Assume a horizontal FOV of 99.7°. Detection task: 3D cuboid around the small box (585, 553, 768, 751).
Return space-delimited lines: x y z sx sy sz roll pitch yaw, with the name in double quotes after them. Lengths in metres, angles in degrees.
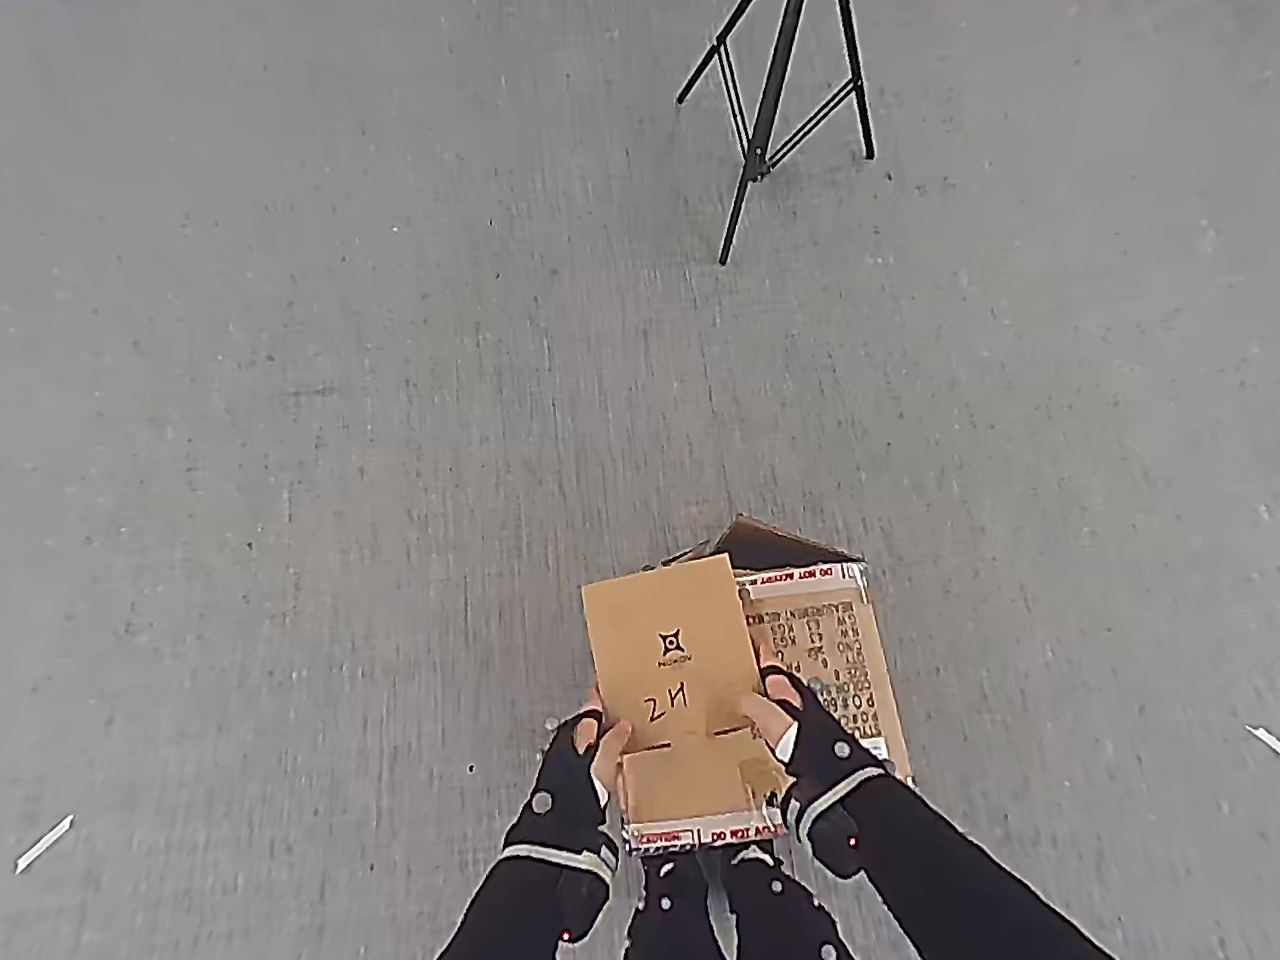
0.038 0.197 0.642 0.168 0.176 0.179 -12 75 1 "small box"
